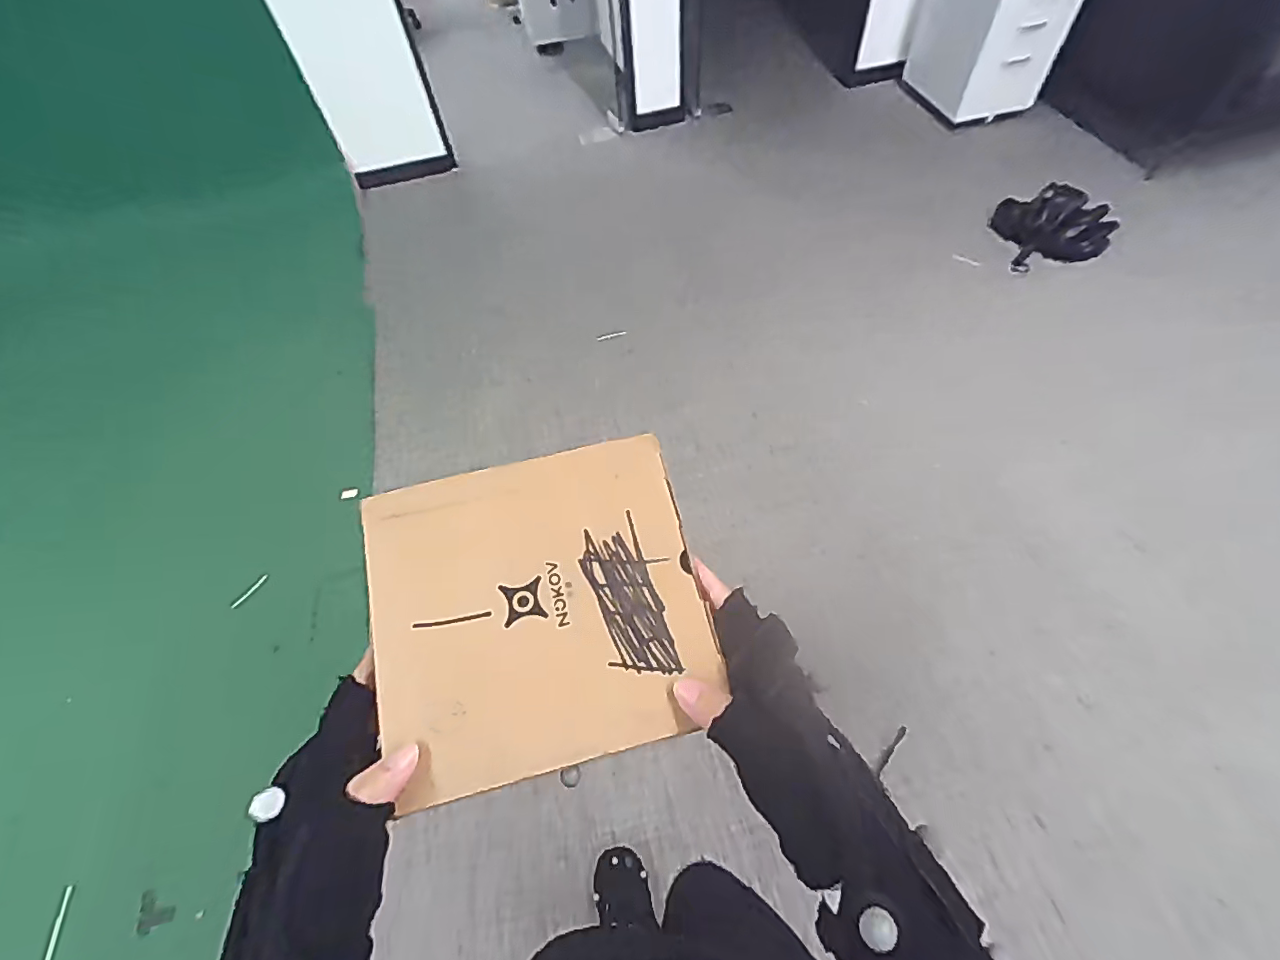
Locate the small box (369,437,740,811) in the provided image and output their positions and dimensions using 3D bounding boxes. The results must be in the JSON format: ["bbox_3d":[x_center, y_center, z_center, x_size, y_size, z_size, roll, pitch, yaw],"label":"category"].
[{"bbox_3d":[-0.056,0.094,0.372,0.179,0.176,0.168,-15,70,-9],"label":"small box"}]
